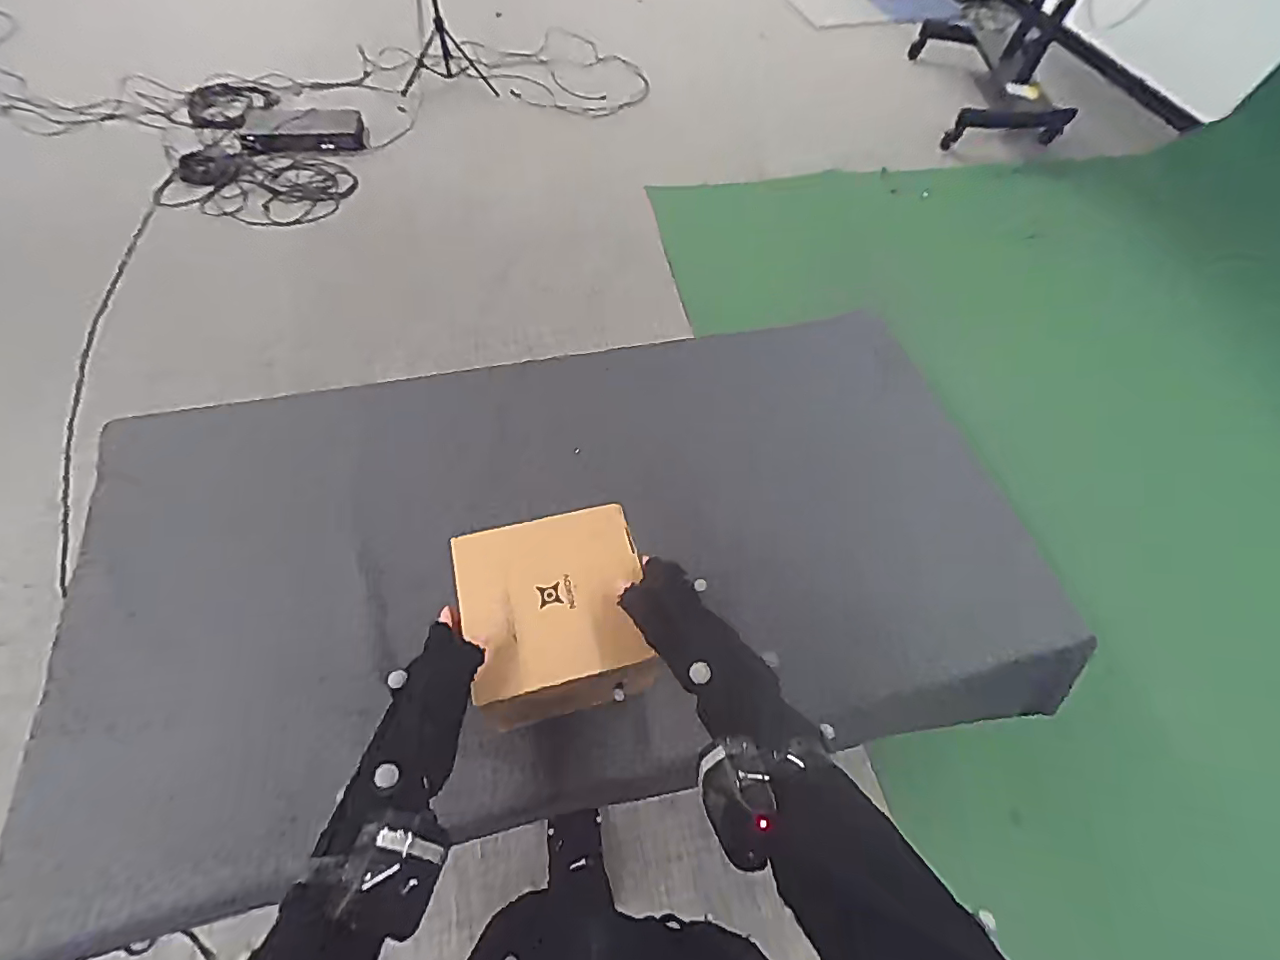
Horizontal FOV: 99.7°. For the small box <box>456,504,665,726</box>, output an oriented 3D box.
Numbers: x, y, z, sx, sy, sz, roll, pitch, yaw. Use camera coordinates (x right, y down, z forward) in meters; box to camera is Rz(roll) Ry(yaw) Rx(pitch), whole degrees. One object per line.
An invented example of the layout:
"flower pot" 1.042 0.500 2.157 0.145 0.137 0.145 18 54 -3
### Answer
"small box" -0.086 0.151 0.586 0.179 0.176 0.168 -13 60 -11
